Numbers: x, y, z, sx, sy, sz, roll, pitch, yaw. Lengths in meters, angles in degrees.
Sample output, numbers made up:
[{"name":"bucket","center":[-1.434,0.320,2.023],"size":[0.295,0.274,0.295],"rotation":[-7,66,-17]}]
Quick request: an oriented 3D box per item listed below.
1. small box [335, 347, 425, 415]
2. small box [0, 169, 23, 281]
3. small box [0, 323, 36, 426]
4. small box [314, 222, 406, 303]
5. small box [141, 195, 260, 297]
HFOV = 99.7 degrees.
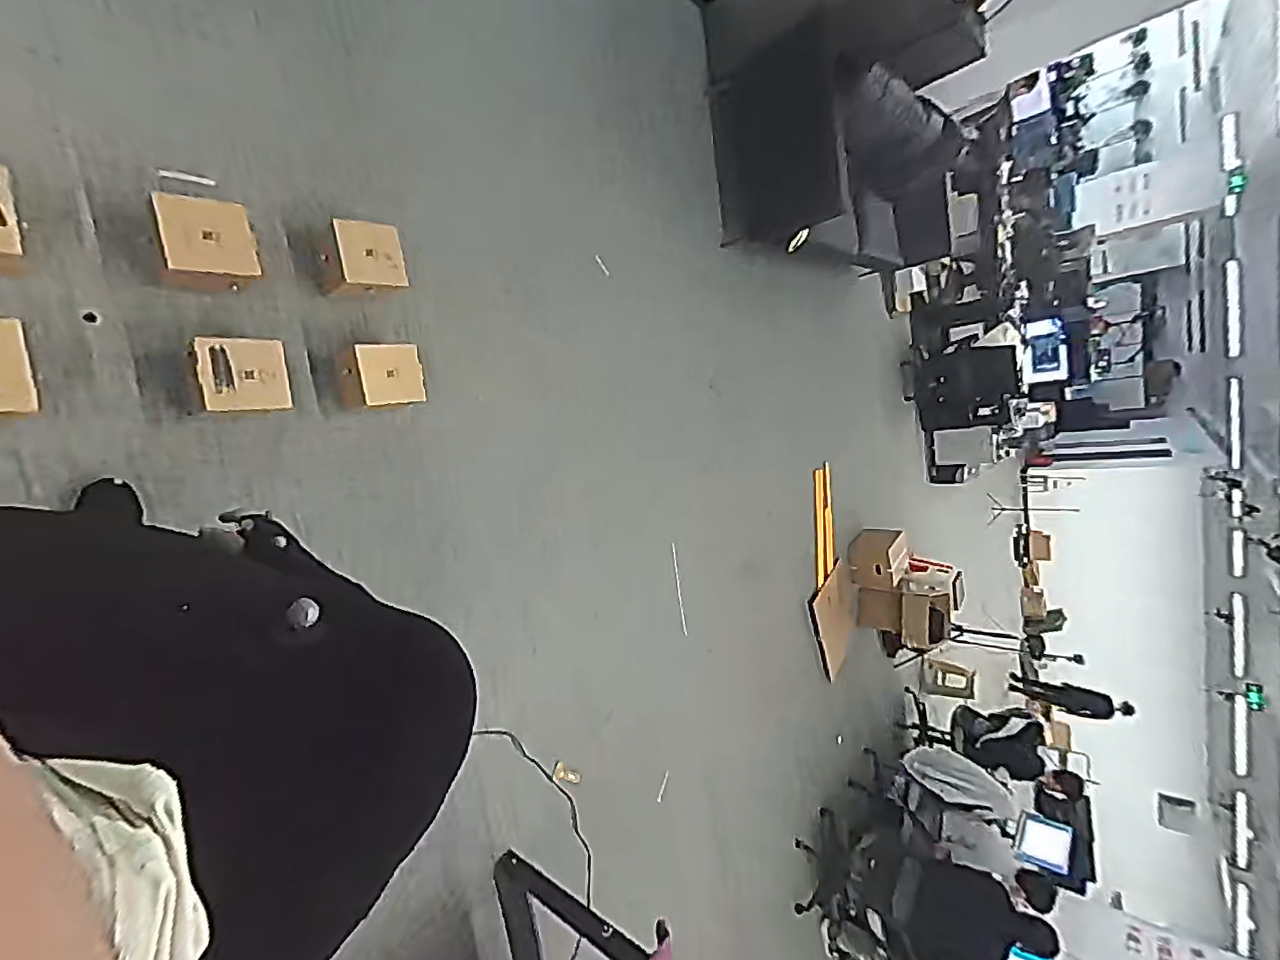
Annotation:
[{"name":"small box","center":[-0.758,-0.285,1.564],"size":[0.179,0.176,0.168],"rotation":[-17,100,-48]},{"name":"small box","center":[-1.283,-0.479,0.994],"size":[0.179,0.176,0.168],"rotation":[-10,96,-47]},{"name":"small box","center":[-1.259,-0.191,1.004],"size":[0.168,0.176,0.179],"rotation":[-13,96,-48]},{"name":"small box","center":[-0.798,-0.607,1.532],"size":[0.179,0.176,0.168],"rotation":[-16,100,-47]},{"name":"small box","center":[-1.034,-0.539,1.272],"size":[0.179,0.176,0.168],"rotation":[-14,98,-47]}]
